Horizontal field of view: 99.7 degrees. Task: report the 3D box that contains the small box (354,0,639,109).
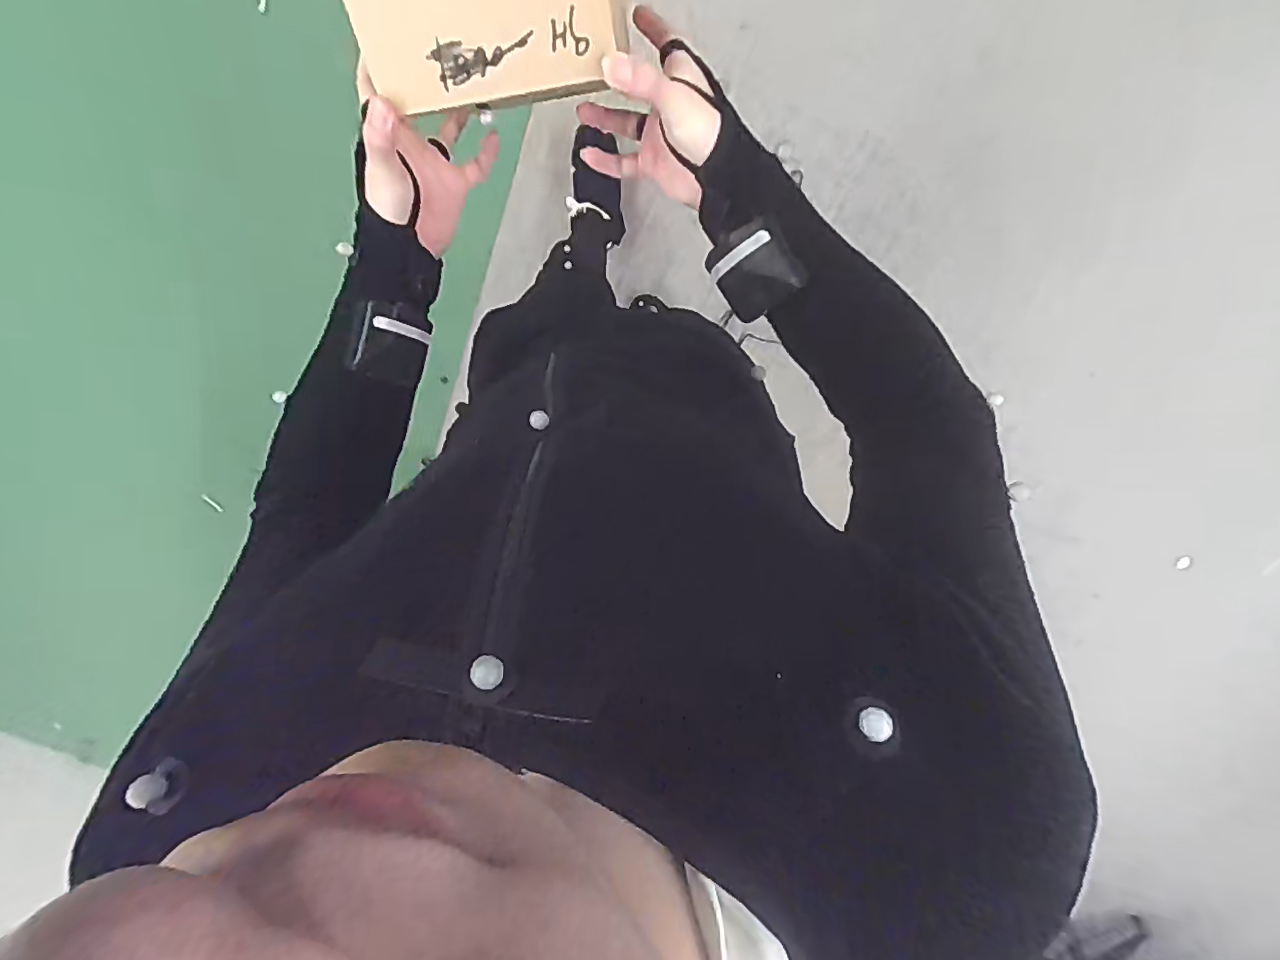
[{"bbox_3d":[-0.092,-0.368,0.368,0.168,0.176,0.179,-4,124,6],"label":"small box"}]
